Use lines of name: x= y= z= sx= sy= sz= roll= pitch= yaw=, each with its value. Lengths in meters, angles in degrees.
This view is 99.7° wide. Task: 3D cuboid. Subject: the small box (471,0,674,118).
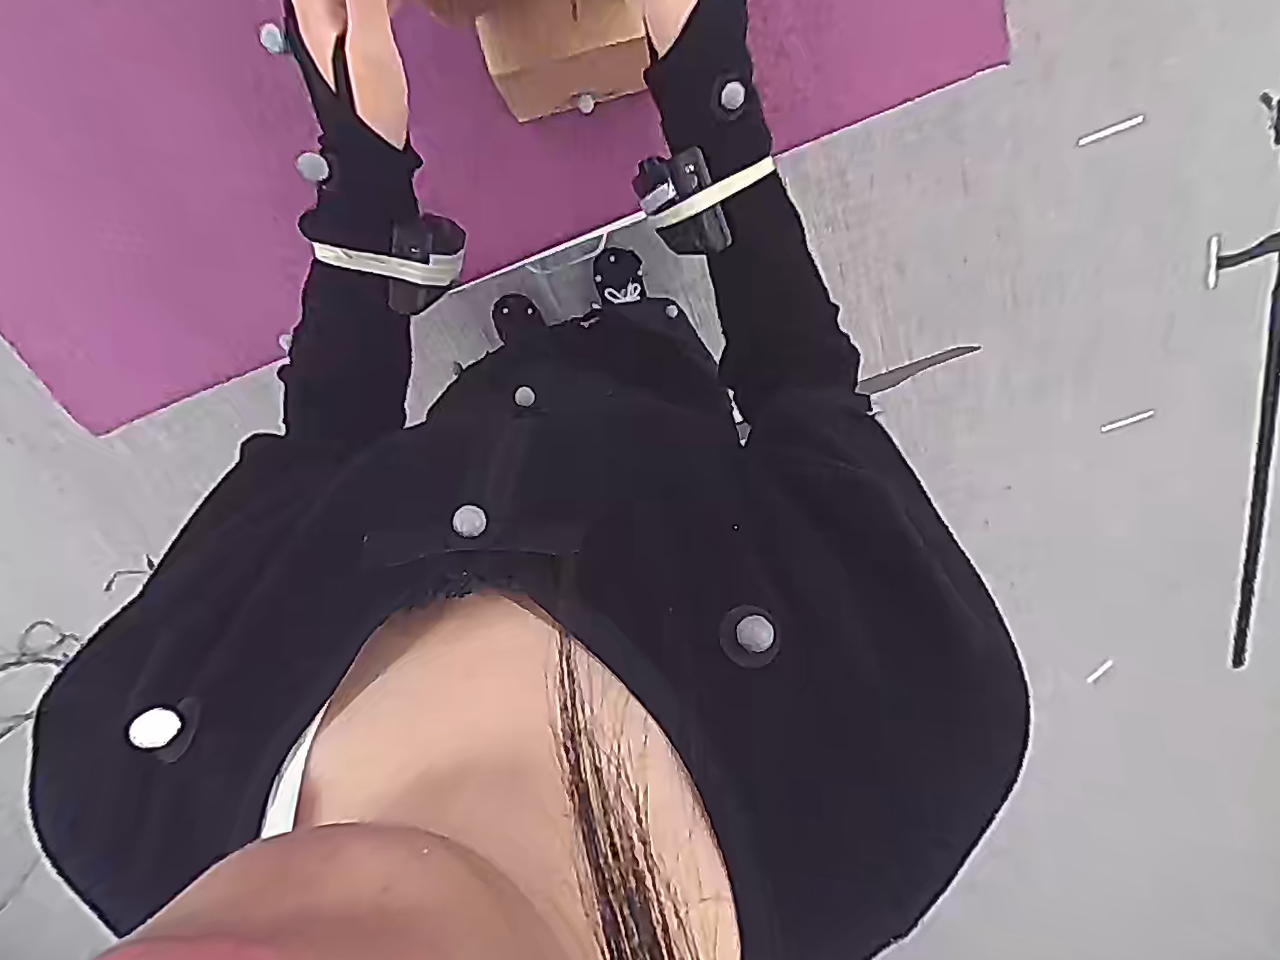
small box: x=-0.073 y=-0.463 z=0.490 sx=0.168 sy=0.176 sz=0.179 roll=-13 pitch=113 yaw=2

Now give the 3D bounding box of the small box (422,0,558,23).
small box: x=-0.078 y=-0.399 z=0.308 sx=0.179 sy=0.176 sz=0.168 roll=-12 pitch=120 yaw=4
